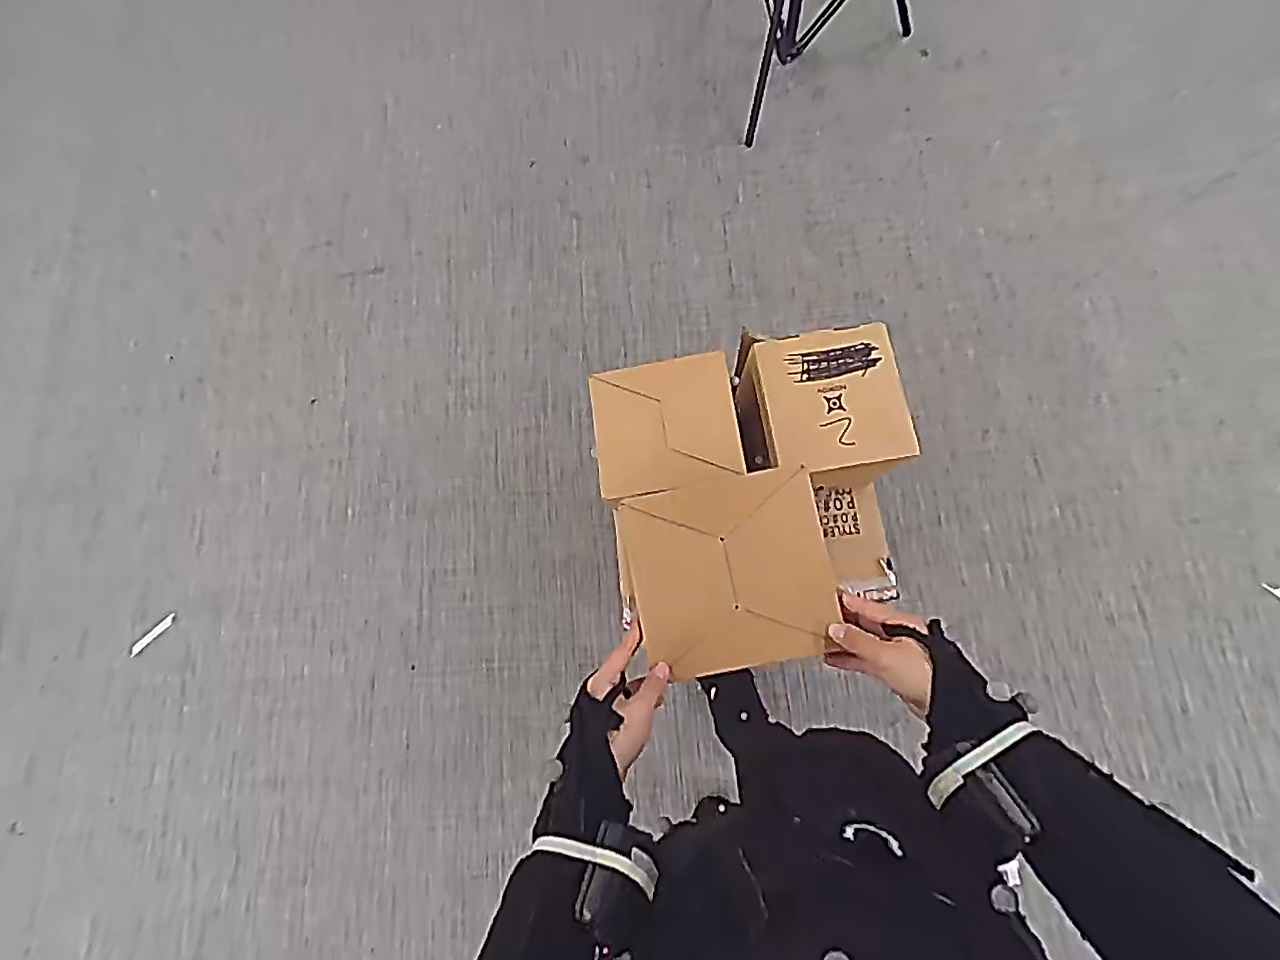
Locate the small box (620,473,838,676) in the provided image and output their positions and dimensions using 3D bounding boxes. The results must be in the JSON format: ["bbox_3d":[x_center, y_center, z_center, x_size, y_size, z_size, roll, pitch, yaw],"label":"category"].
[{"bbox_3d":[0.081,0.094,0.565,0.179,0.176,0.168,-12,83,3],"label":"small box"}]

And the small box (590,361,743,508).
[{"bbox_3d":[0.042,-0.047,0.744,0.179,0.176,0.168,-9,76,6],"label":"small box"}]
